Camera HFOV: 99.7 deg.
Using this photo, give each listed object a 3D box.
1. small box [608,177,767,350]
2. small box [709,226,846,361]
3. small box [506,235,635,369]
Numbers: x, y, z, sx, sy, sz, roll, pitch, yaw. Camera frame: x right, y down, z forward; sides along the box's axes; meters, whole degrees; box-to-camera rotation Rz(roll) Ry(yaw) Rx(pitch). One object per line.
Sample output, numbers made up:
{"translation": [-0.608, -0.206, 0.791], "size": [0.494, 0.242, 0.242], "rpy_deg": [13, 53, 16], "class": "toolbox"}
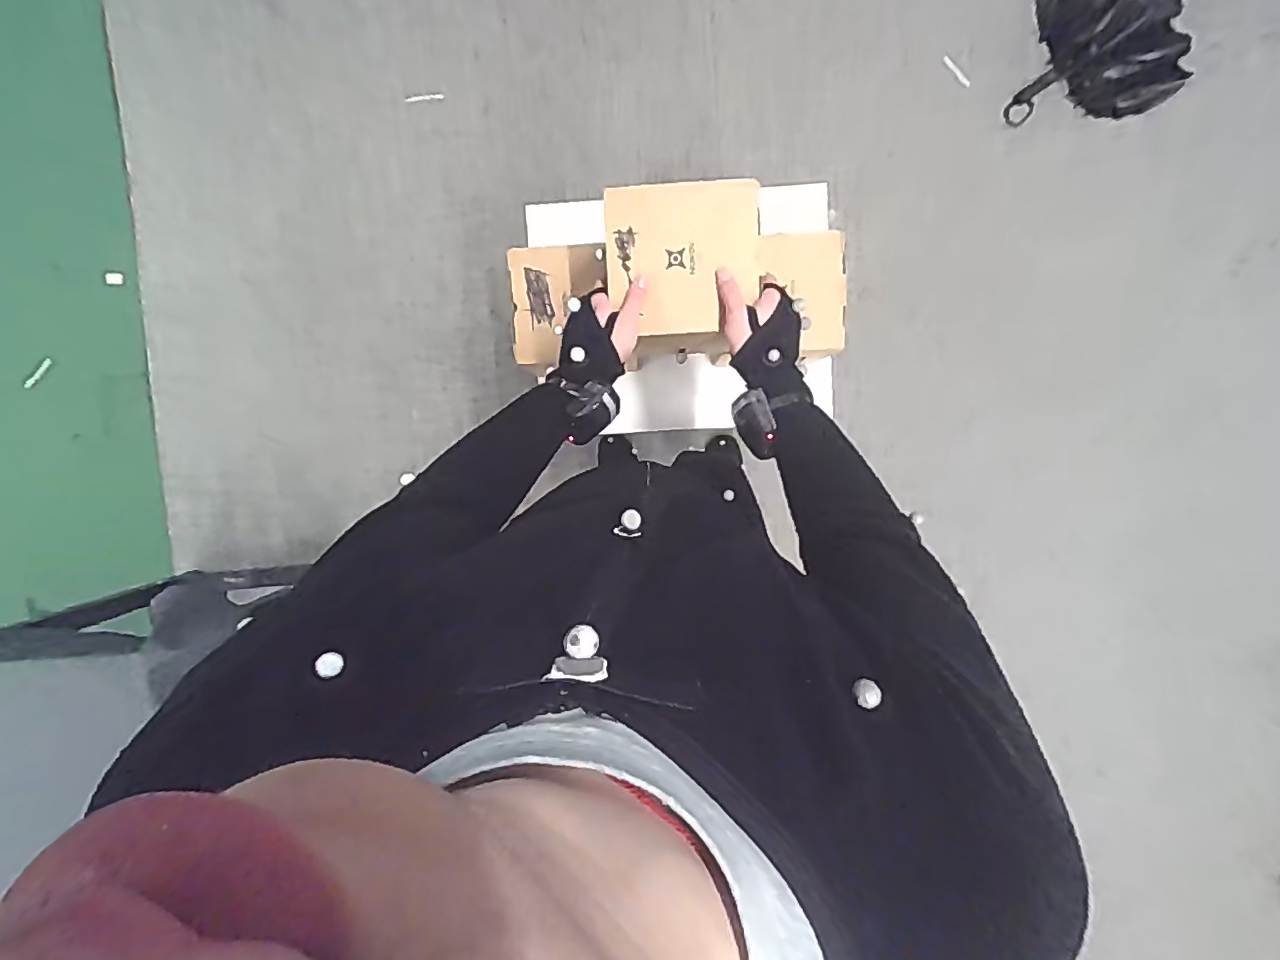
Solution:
{"translation": [0.052, -0.258, 0.678], "size": [0.179, 0.176, 0.168], "rpy_deg": [-2, 96, 0], "class": "small box"}
{"translation": [0.202, -0.278, 0.837], "size": [0.179, 0.176, 0.168], "rpy_deg": [-2, 96, 2], "class": "small box"}
{"translation": [-0.098, -0.267, 0.840], "size": [0.179, 0.176, 0.168], "rpy_deg": [-3, 96, -1], "class": "small box"}
